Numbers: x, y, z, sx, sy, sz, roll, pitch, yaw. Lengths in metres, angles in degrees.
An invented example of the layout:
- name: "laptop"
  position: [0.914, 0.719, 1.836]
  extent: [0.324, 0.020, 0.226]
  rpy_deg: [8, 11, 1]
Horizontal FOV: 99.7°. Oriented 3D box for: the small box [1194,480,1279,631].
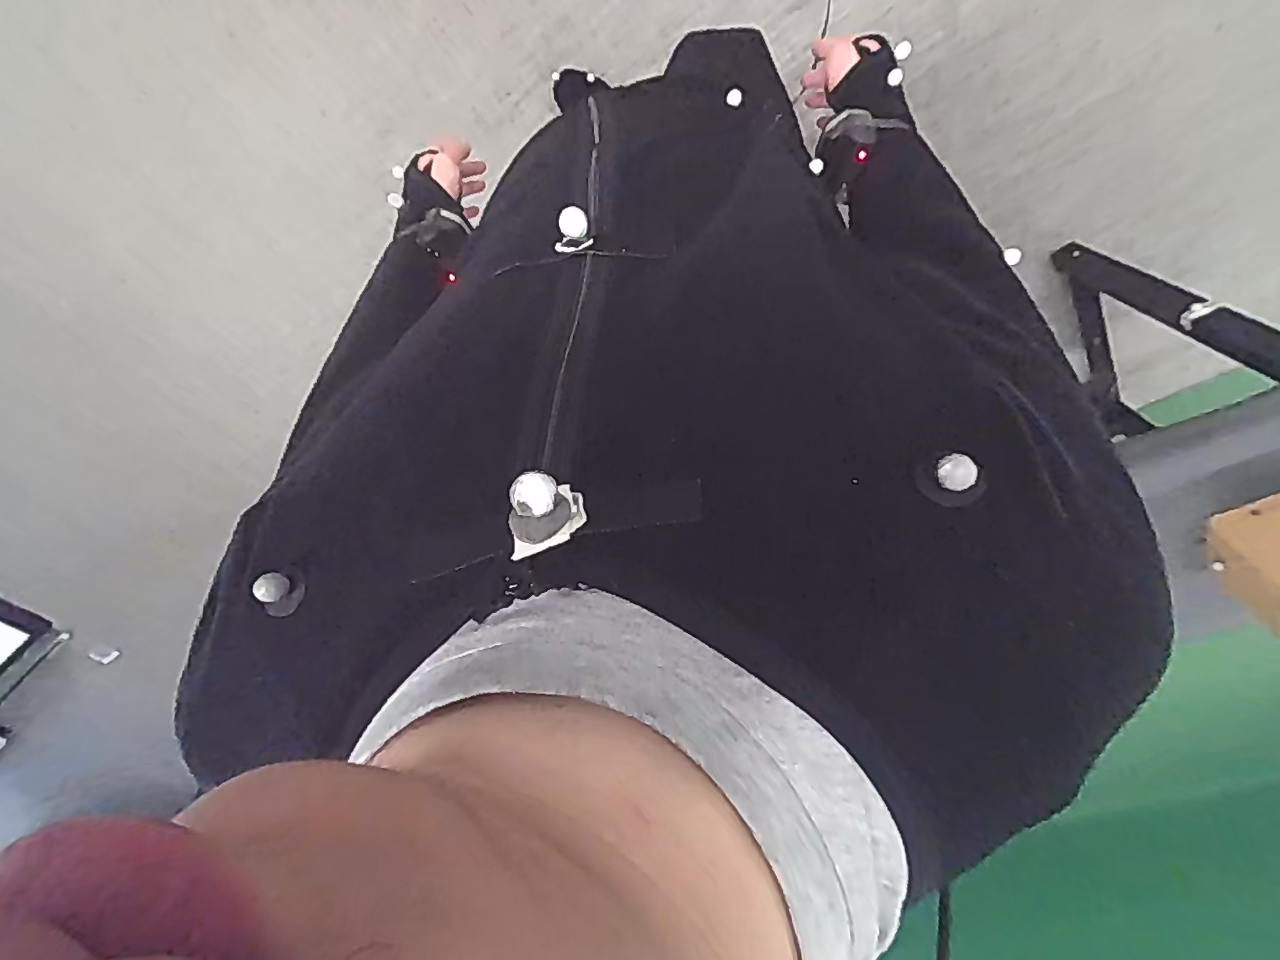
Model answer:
- name: "small box"
  position: [1.112, 0.123, 0.928]
  extent: [0.168, 0.176, 0.179]
  rpy_deg: [-29, 125, 21]
